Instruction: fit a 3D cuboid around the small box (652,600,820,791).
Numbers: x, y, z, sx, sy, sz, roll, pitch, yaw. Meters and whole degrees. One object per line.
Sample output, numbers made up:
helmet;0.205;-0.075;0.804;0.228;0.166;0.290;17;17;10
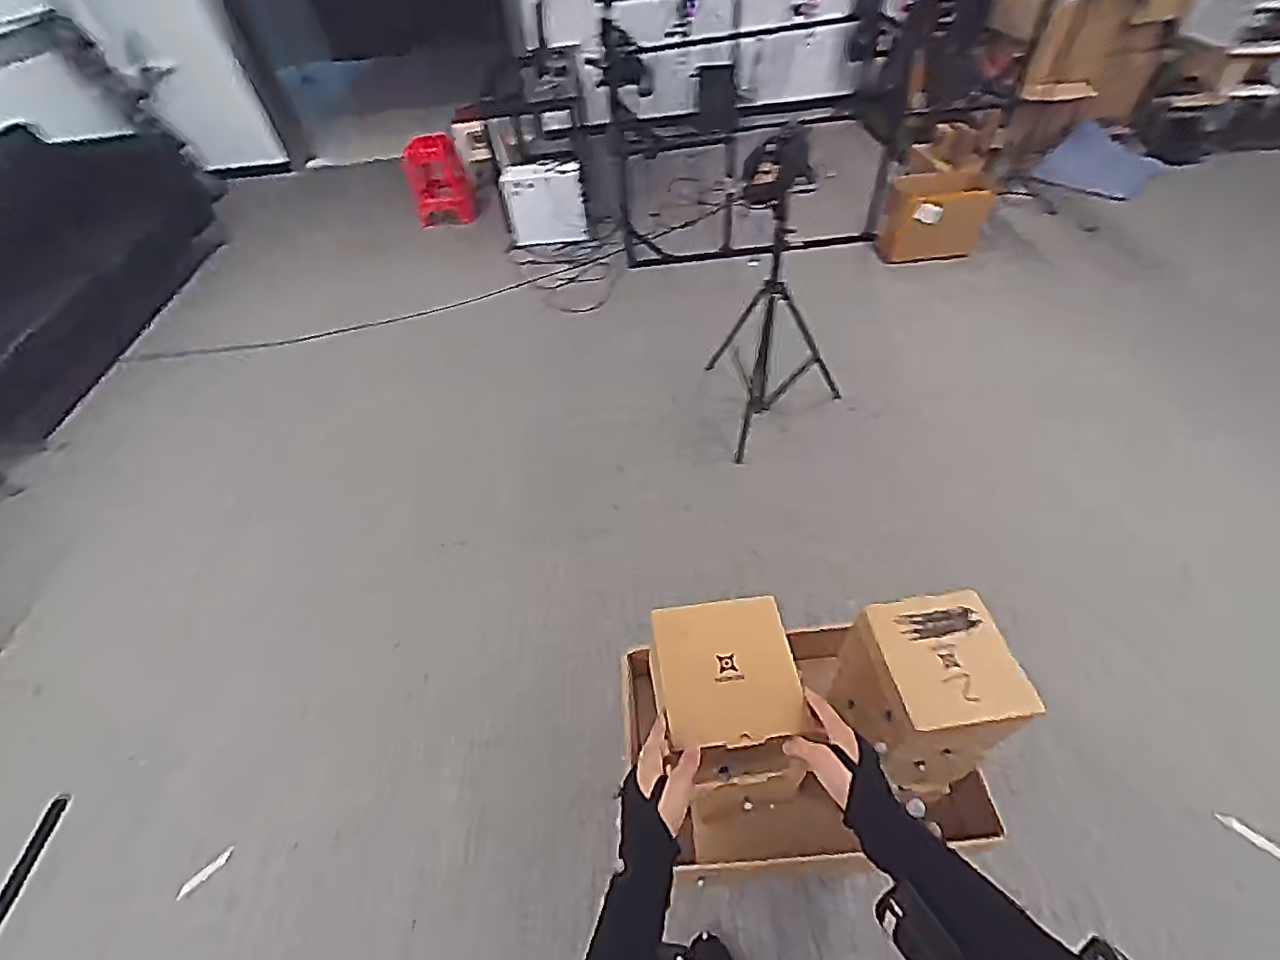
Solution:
small box;0.108;0.282;0.708;0.168;0.176;0.179;-7;50;-5

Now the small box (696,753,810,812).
small box;0.164;0.429;0.903;0.168;0.176;0.179;-9;49;-2

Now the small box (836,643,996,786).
small box;0.440;0.391;0.900;0.168;0.176;0.179;-3;48;4
